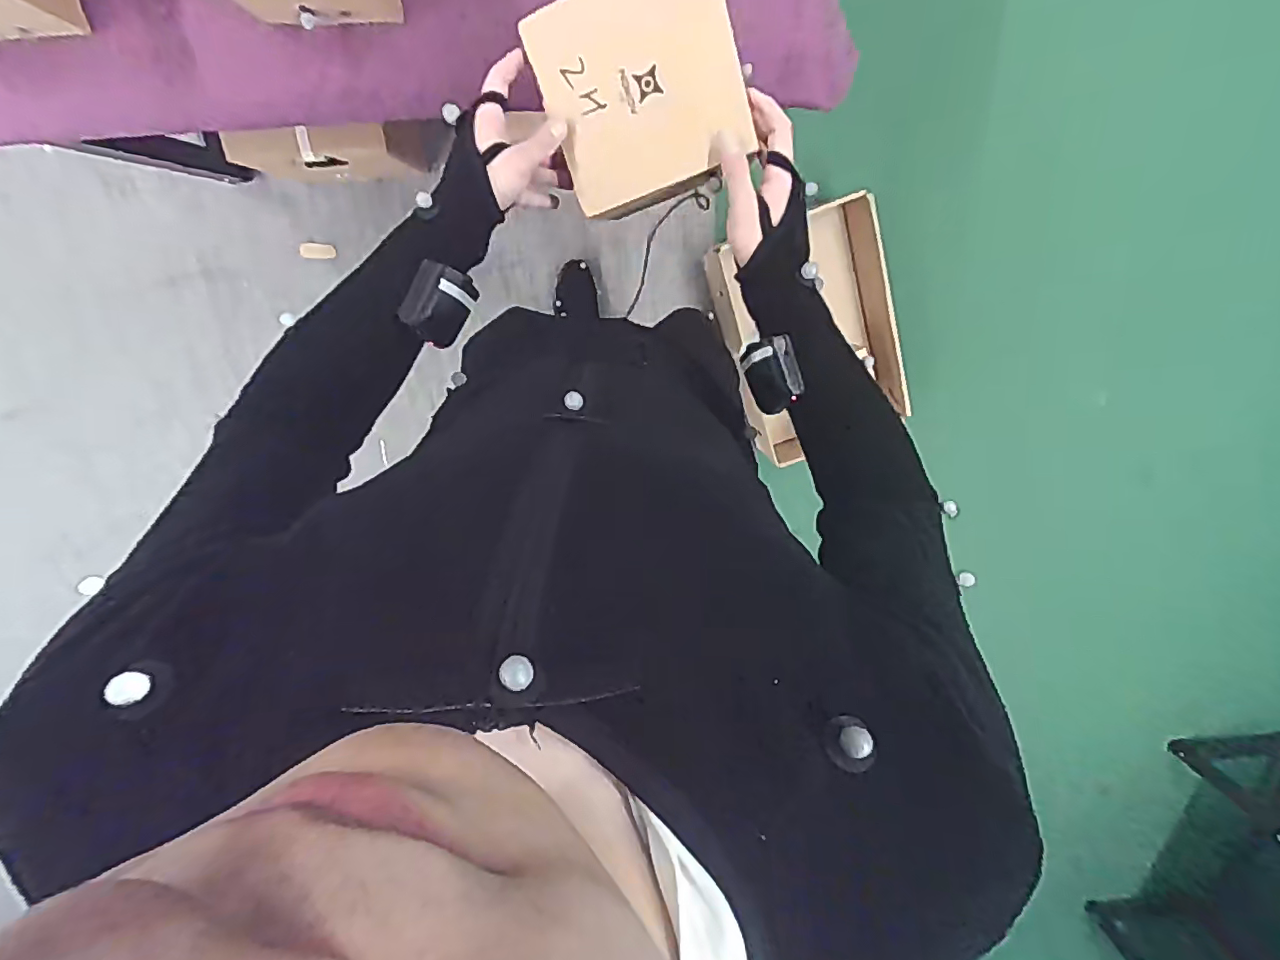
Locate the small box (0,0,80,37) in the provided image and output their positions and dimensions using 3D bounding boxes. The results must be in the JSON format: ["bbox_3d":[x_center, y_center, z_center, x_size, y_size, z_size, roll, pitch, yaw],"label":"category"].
[{"bbox_3d":[-0.725,-0.562,0.525,0.168,0.176,0.179,-6,110,-3],"label":"small box"}]

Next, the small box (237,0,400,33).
[{"bbox_3d":[-0.364,-0.594,0.545,0.168,0.176,0.179,-3,111,-3],"label":"small box"}]

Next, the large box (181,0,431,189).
[{"bbox_3d":[-0.670,-0.863,1.126,0.320,0.320,0.408,-5,111,-3],"label":"large box"}]

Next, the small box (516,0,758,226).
[{"bbox_3d":[0.010,-0.370,0.539,0.179,0.176,0.168,-14,112,17],"label":"small box"}]
